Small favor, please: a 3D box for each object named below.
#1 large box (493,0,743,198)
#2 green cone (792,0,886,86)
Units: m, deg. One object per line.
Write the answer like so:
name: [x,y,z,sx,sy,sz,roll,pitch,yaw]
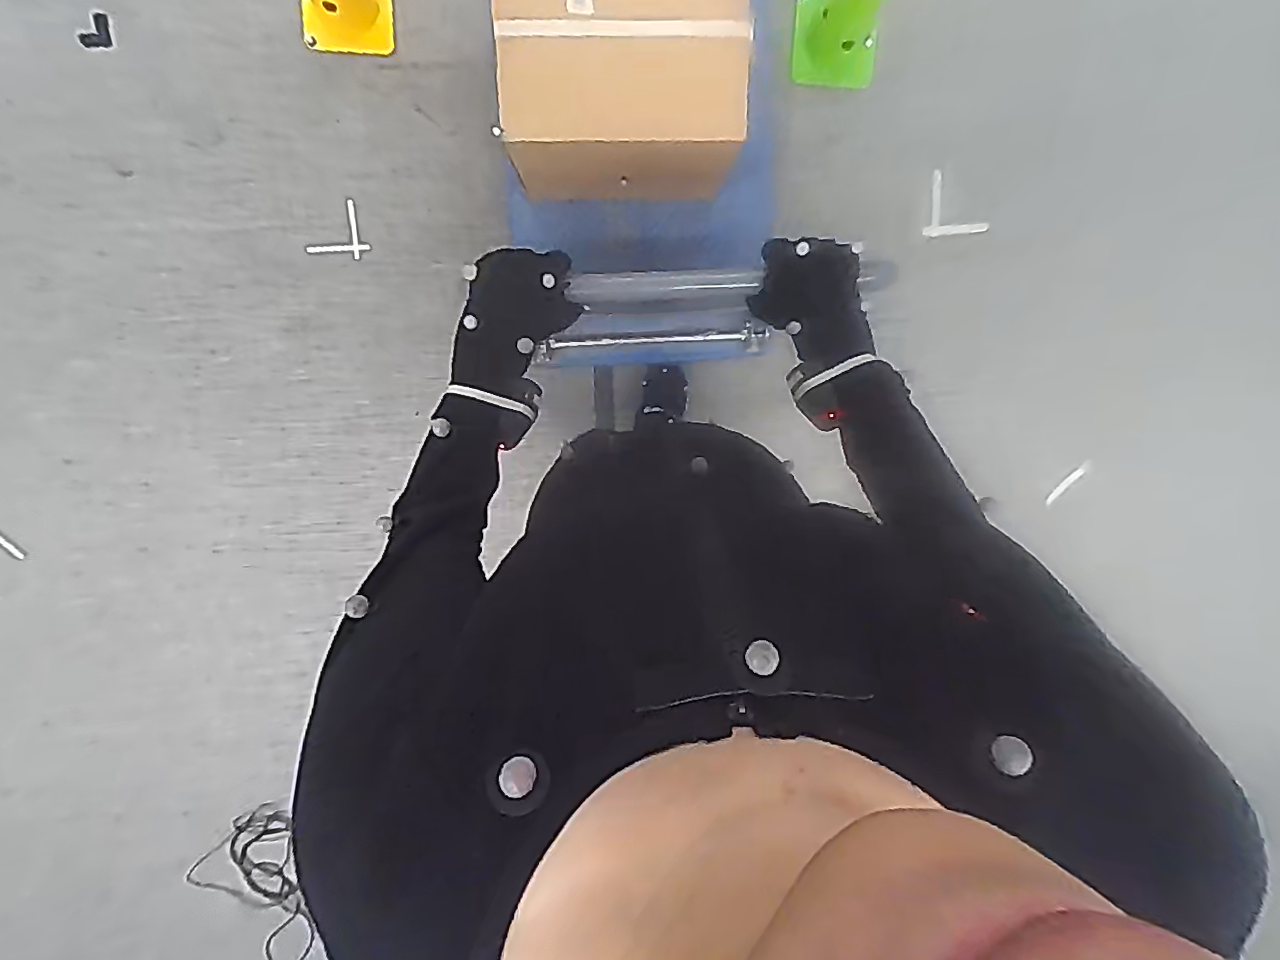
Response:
large box: [-0.035,-0.737,1.008,0.408,0.320,0.320,-2,101,-1]
green cone: [0.476,-1.025,1.123,0.202,0.368,0.200,1,101,-4]
